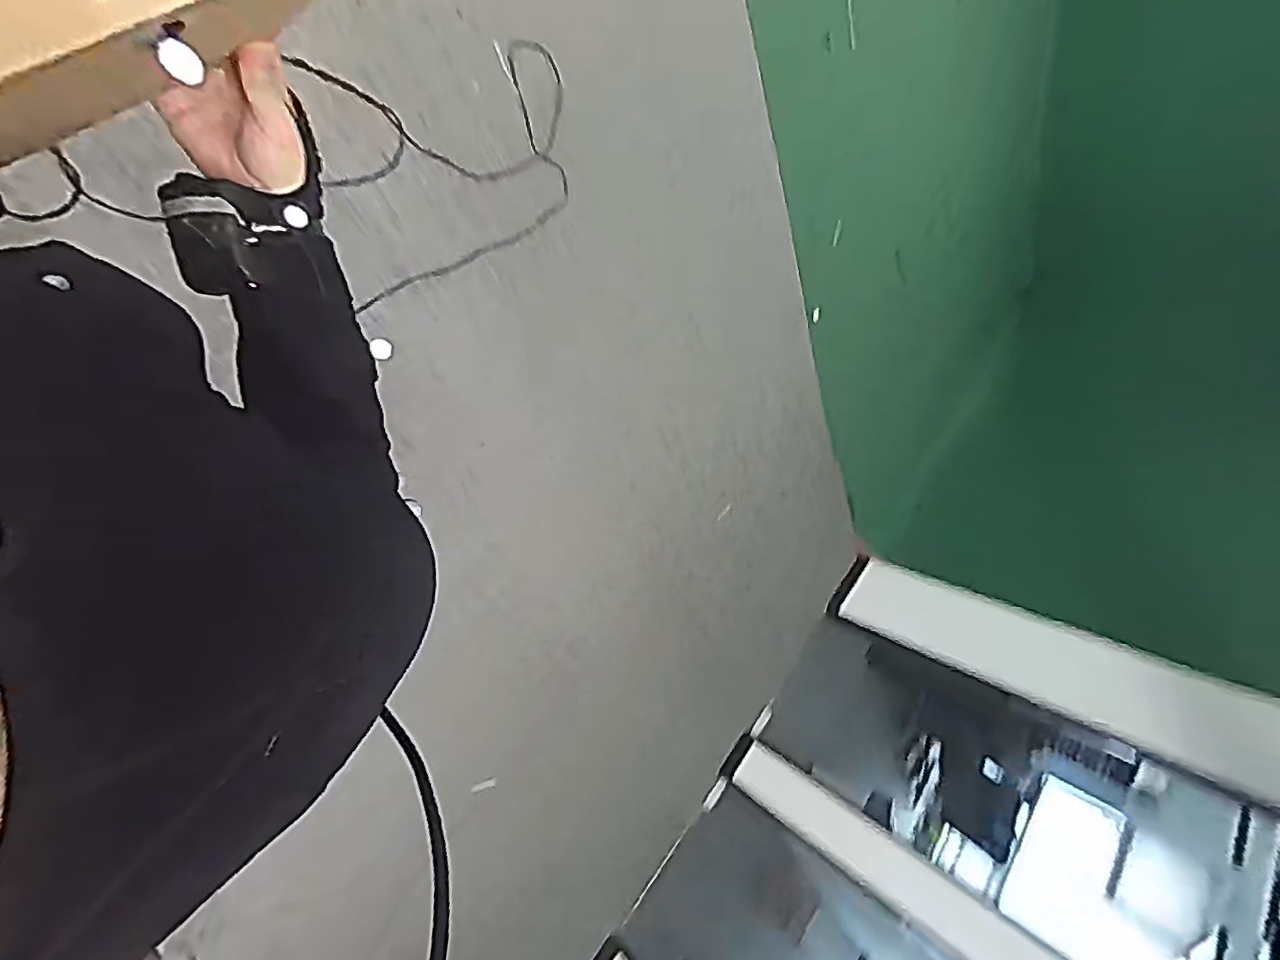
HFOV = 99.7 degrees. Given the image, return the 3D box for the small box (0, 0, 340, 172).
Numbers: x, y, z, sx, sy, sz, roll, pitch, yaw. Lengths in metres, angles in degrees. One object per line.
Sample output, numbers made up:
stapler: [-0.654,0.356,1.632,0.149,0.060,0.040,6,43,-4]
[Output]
small box: [-0.236,-0.241,0.188,0.168,0.176,0.179,-51,135,-23]
